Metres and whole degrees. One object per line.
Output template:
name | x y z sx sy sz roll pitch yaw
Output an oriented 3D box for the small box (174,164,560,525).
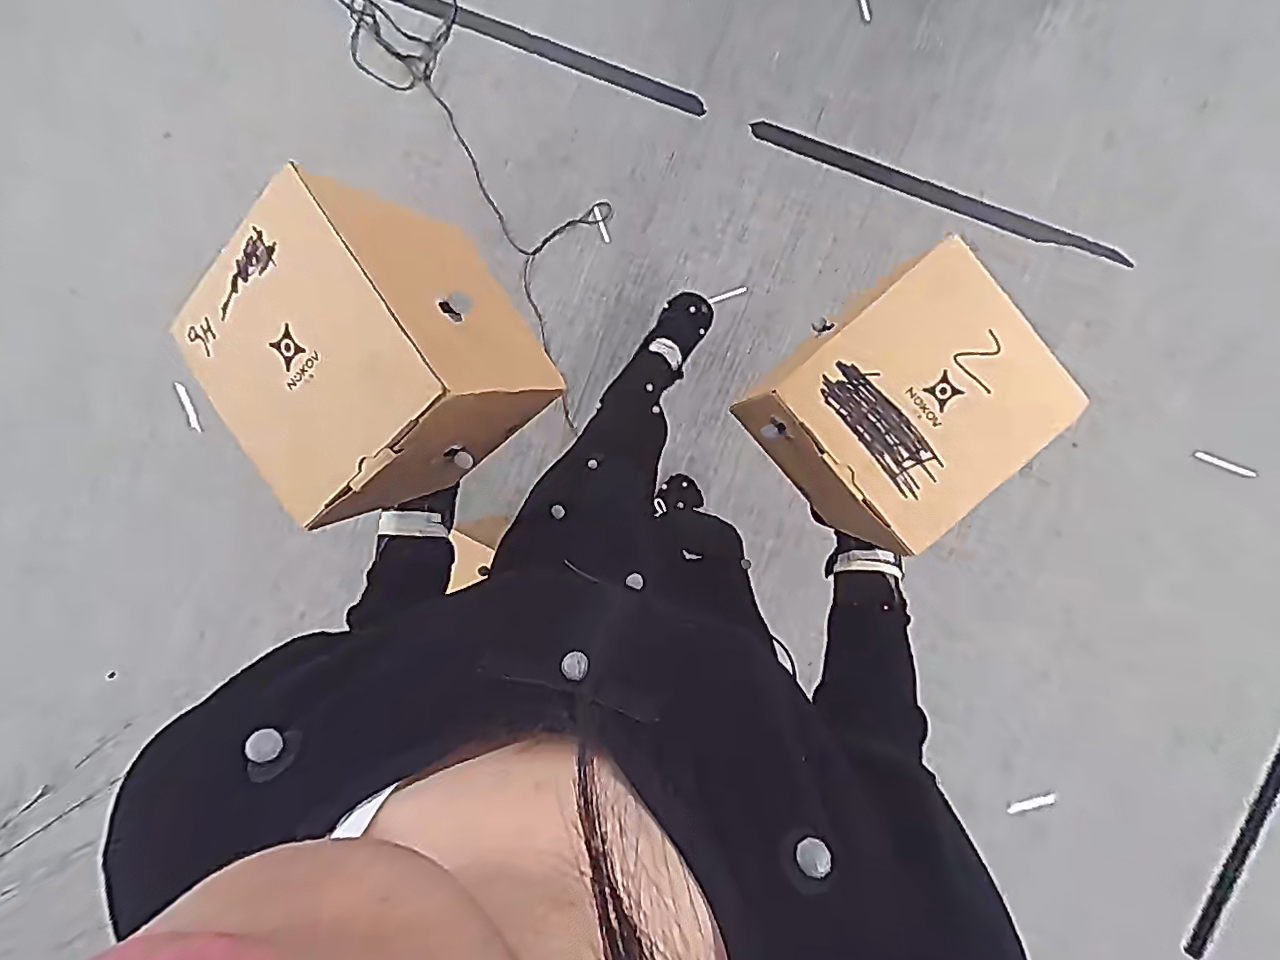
small box | -0.194 -0.095 0.426 0.168 0.176 0.179 -35 89 20
